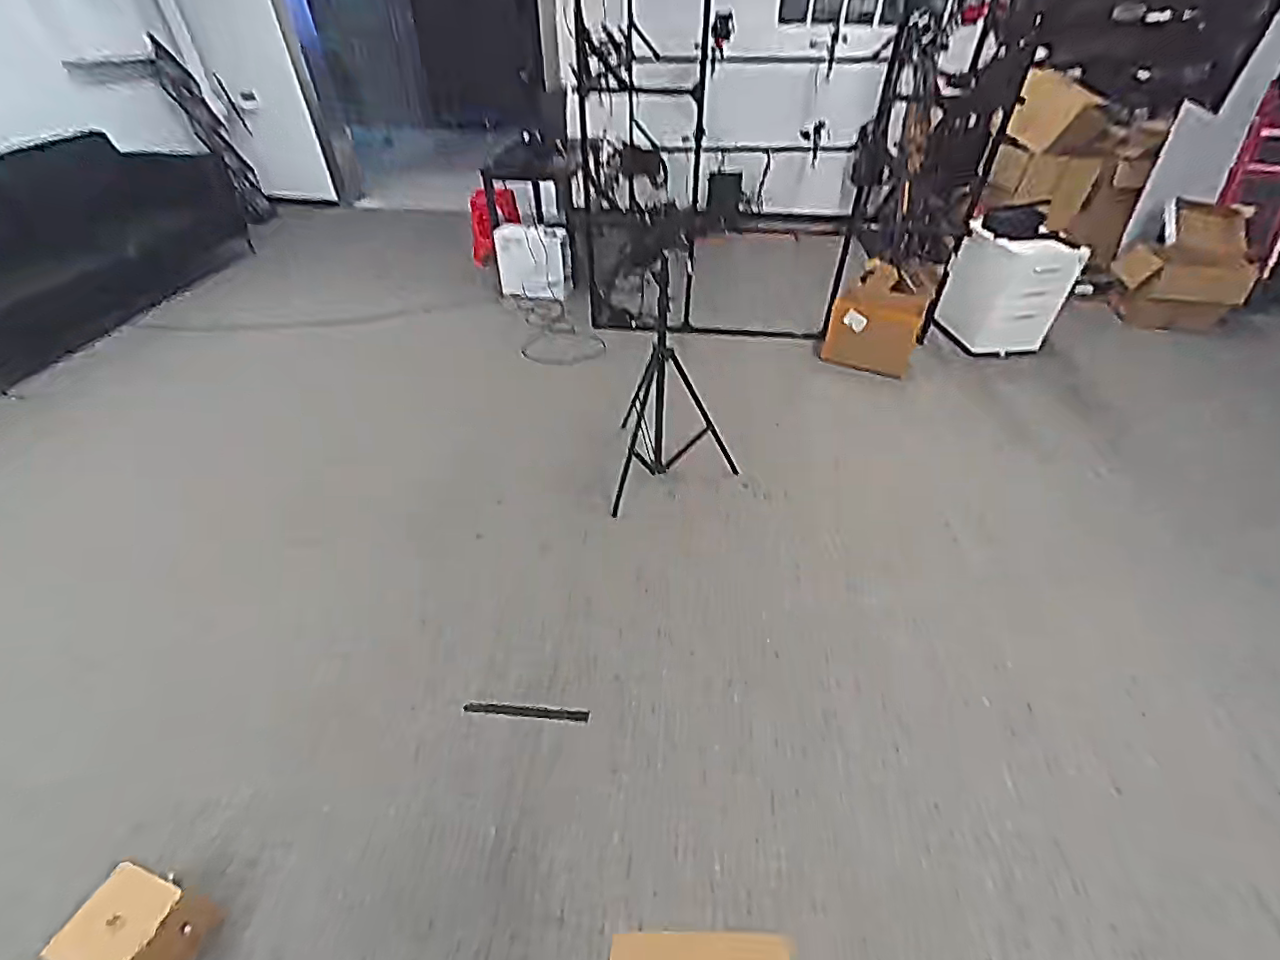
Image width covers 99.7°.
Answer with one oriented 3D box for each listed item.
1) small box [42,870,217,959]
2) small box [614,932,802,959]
[{"bbox_3d":[-1.034,0.948,1.112,0.179,0.176,0.168,11,40,14],"label":"small box"},{"bbox_3d":[0.067,0.541,0.478,0.179,0.176,0.168,-6,24,6],"label":"small box"}]
